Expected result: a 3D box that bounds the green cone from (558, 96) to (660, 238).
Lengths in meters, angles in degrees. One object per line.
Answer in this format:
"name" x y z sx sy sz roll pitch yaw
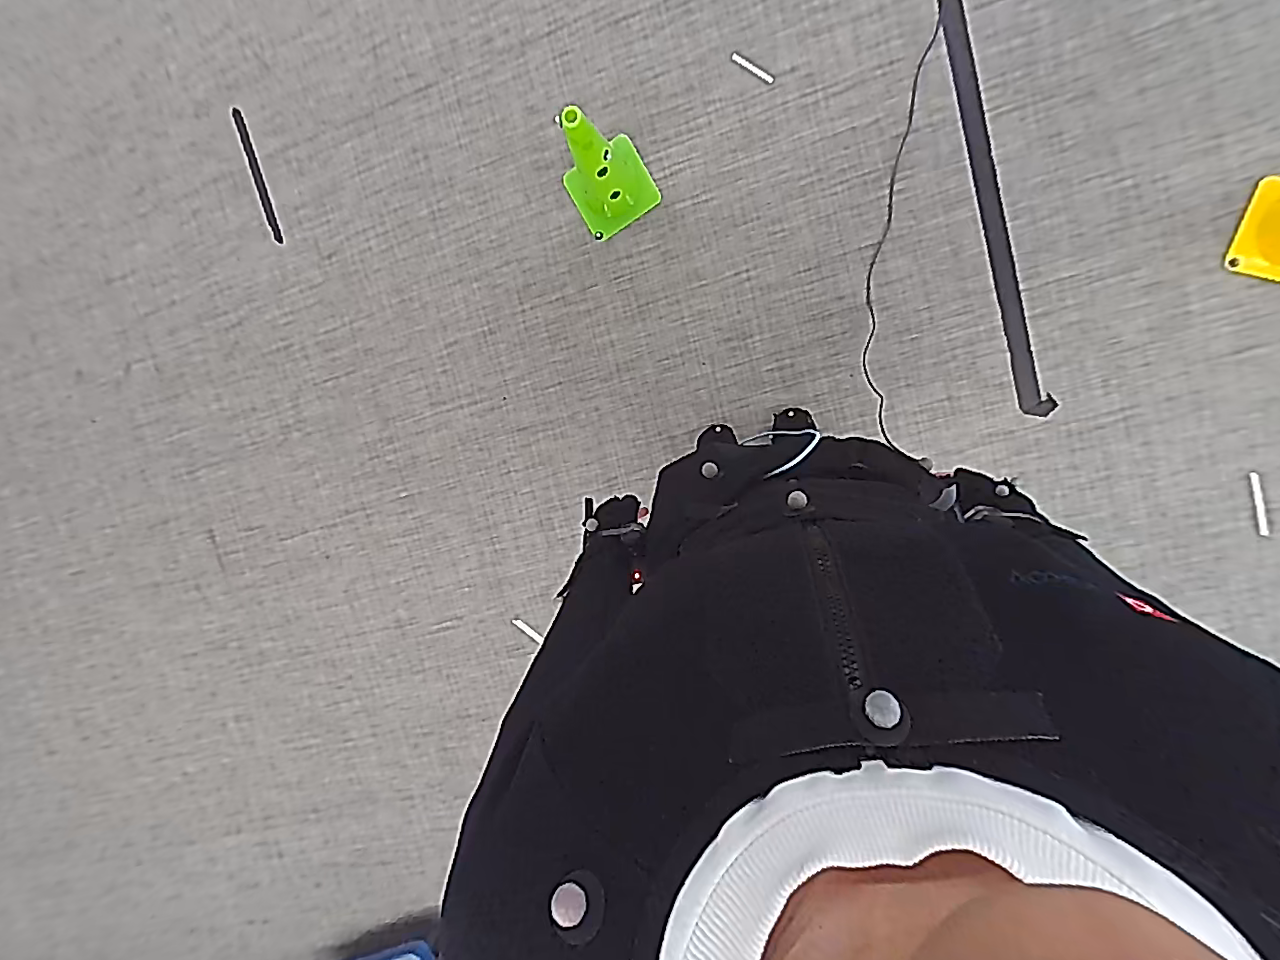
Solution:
"green cone" -0.103 -0.735 1.218 0.200 0.368 0.202 -30 90 11
